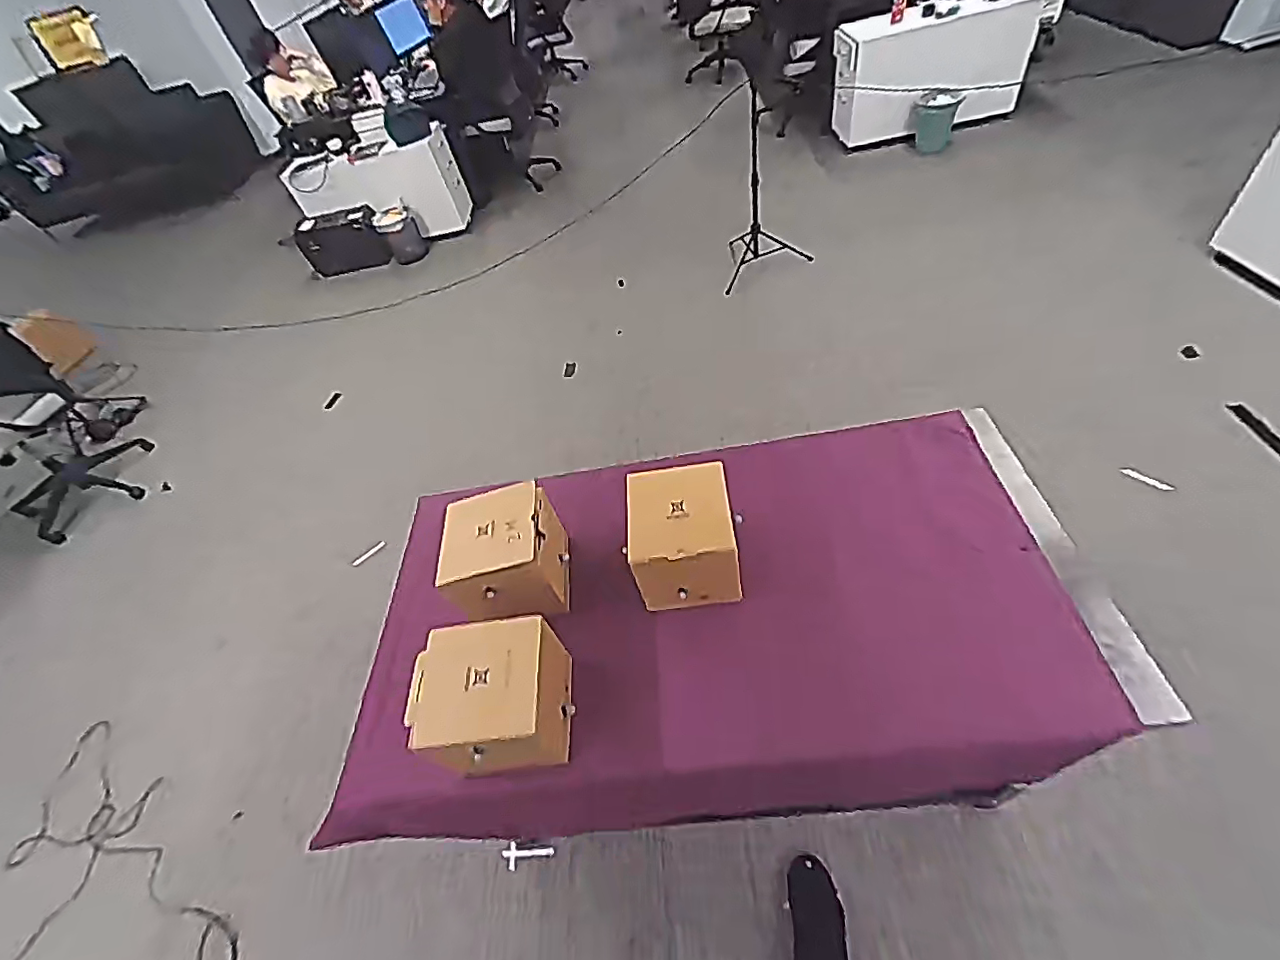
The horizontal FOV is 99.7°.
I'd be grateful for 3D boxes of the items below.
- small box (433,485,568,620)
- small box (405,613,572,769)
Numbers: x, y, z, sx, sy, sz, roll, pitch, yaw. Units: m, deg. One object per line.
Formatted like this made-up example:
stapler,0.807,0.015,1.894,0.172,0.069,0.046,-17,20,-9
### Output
small box,-0.236,0.135,0.960,0.179,0.176,0.168,-10,50,4
small box,-0.211,0.318,0.805,0.179,0.176,0.168,-8,50,6
